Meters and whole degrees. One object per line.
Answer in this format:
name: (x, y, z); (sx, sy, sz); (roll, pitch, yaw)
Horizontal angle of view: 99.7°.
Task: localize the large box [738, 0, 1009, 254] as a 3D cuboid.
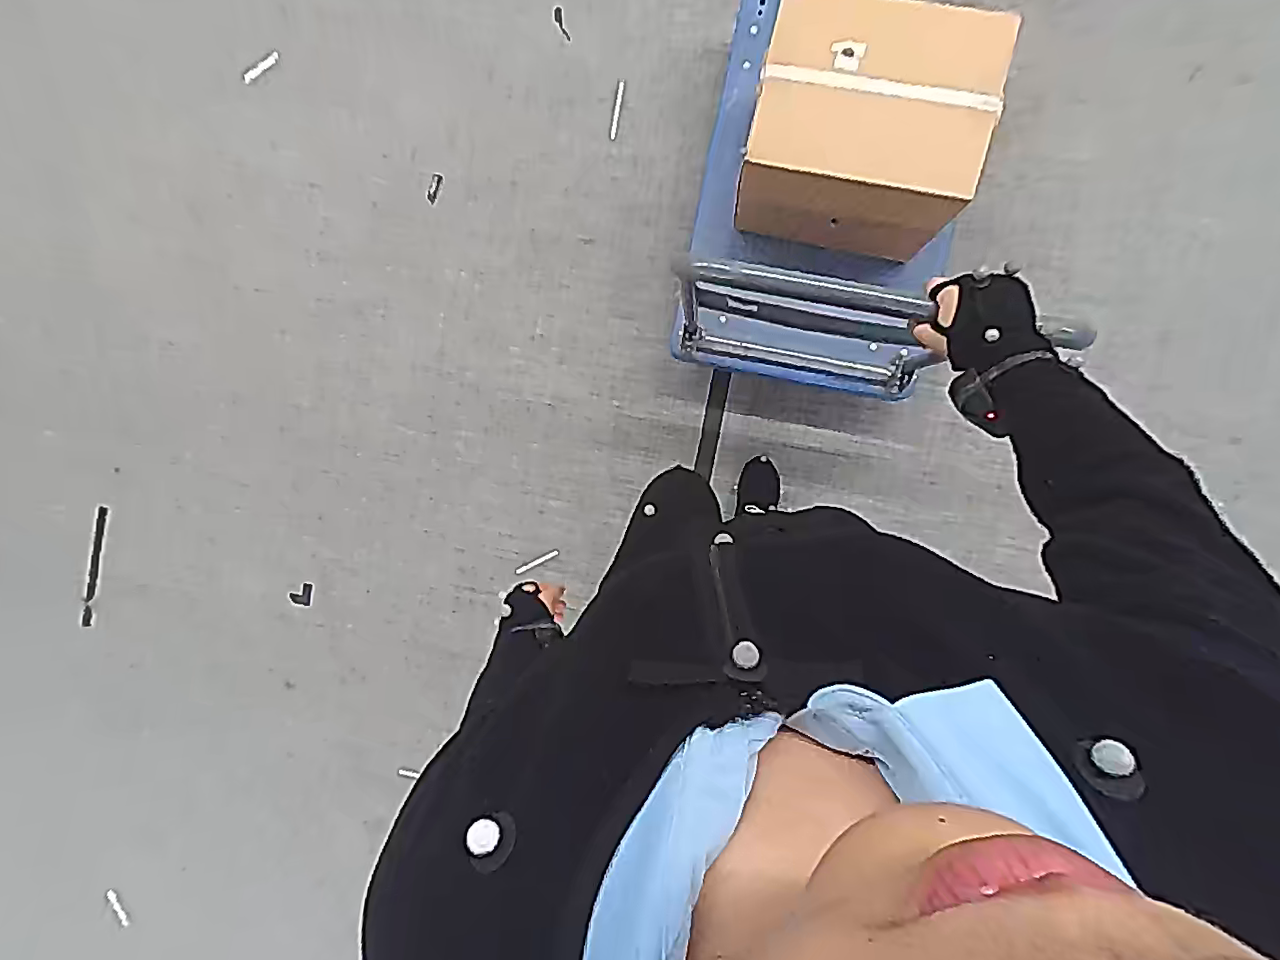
large box: (0.435, -0.694, 1.108); (0.408, 0.320, 0.320); (13, 93, 7)
